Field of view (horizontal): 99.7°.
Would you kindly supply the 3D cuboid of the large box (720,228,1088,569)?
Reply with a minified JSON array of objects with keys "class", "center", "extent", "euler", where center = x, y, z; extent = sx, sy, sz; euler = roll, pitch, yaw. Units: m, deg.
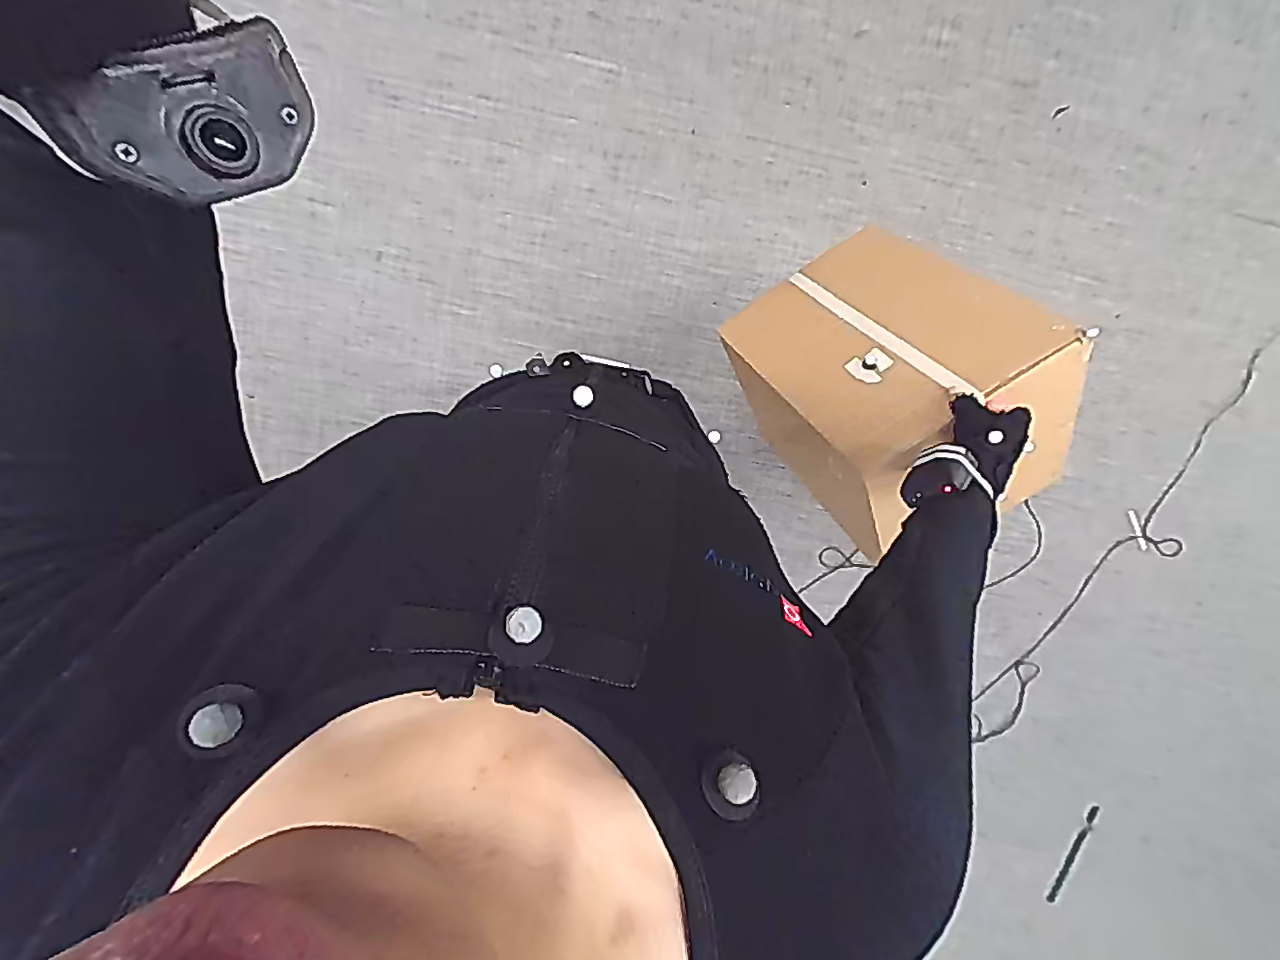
[{"class":"large box","center":[0.392,-0.137,0.892],"extent":[0.320,0.408,0.320],"euler":[-33,137,4]}]
